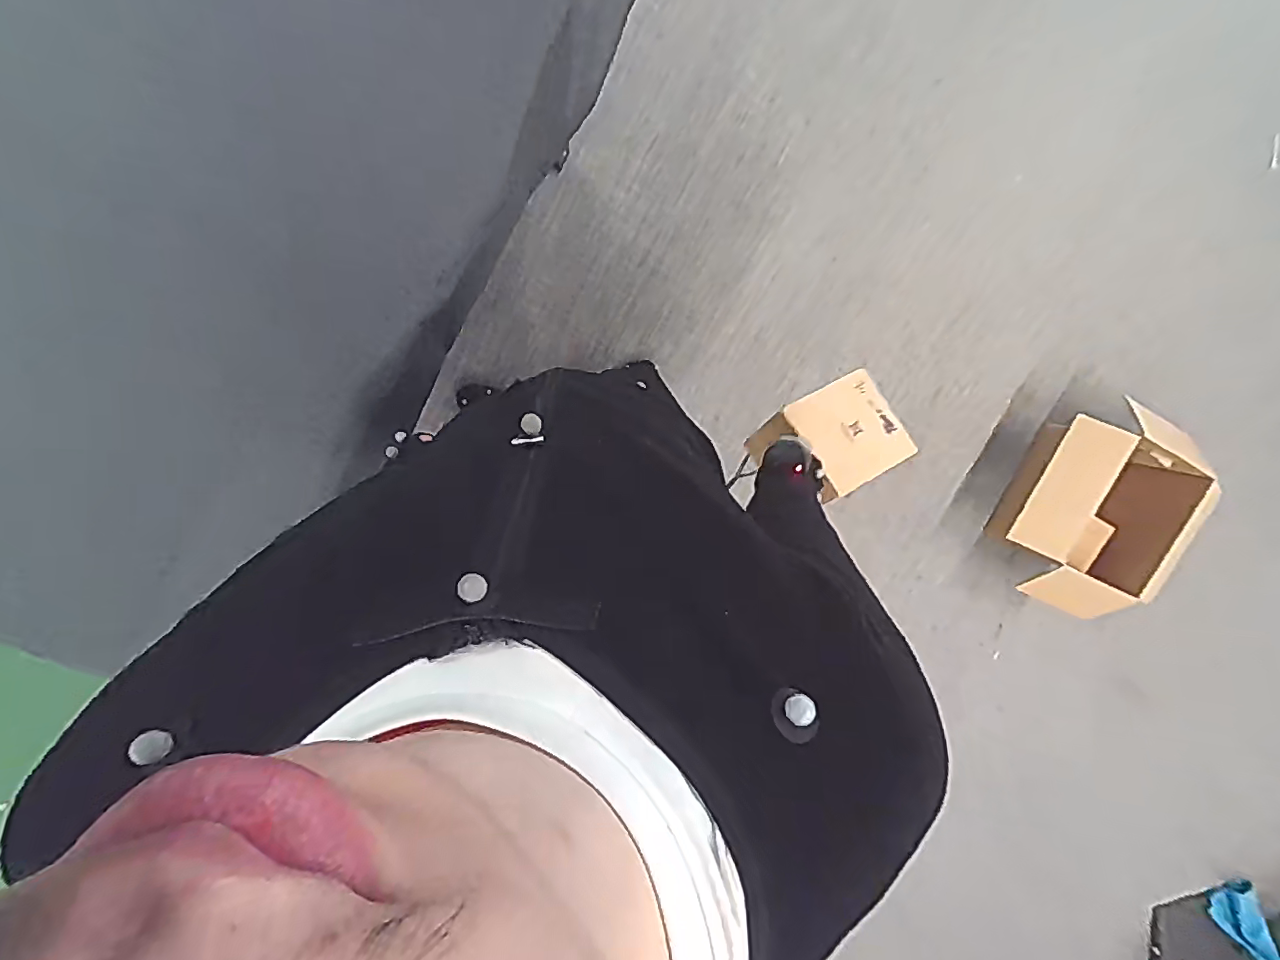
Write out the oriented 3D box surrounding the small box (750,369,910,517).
[{"bbox_3d":[0.312,-0.056,0.938,0.179,0.176,0.168,-29,80,-18],"label":"small box"}]
